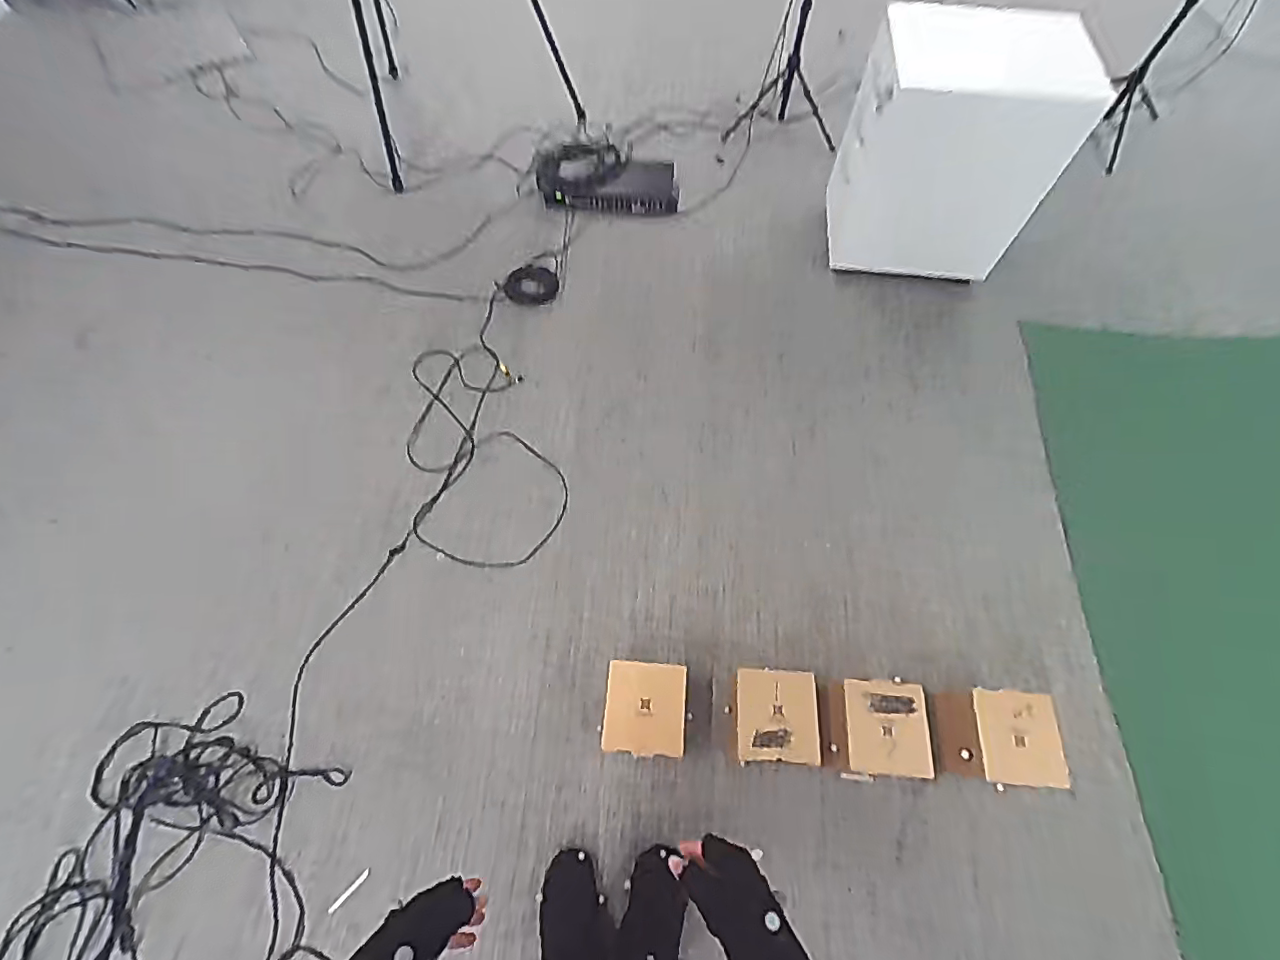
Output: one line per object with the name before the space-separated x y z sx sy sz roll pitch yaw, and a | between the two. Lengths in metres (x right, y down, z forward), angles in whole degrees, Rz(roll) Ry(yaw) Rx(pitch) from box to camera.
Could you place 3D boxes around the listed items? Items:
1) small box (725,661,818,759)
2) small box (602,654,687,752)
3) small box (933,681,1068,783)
small box | 0.277 0.500 1.172 0.168 0.176 0.179 3 63 2
small box | 0.011 0.489 1.181 0.168 0.176 0.179 4 64 2
small box | 0.756 0.536 1.156 0.168 0.176 0.179 5 64 2
